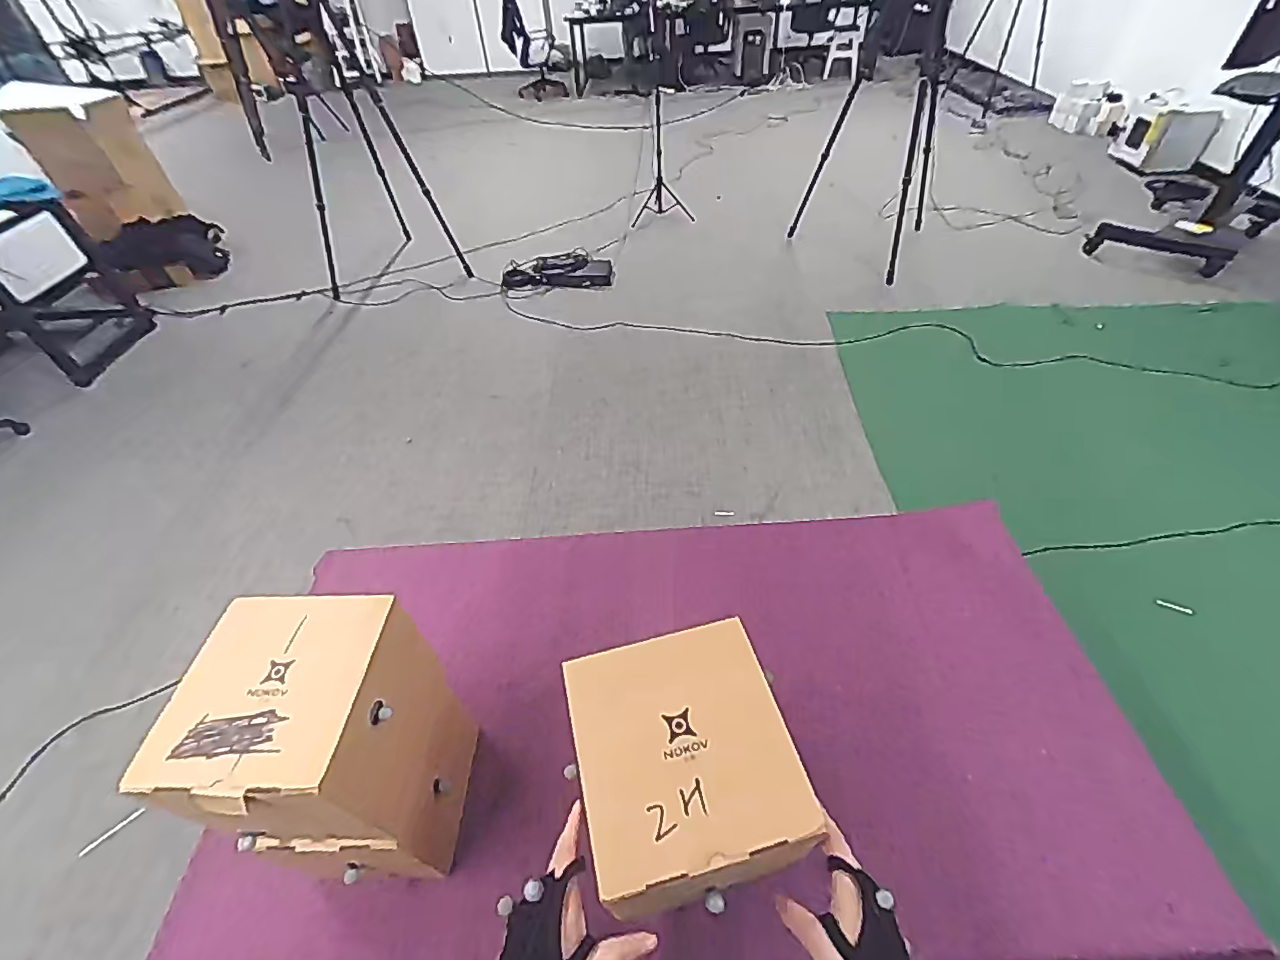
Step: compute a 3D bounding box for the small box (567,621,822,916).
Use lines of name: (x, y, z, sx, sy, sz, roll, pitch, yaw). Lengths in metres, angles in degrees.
small box: (0.035, 0.258, 0.486, 0.168, 0.176, 0.179, -12, 49, -7)

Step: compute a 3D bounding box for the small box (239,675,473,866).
small box: (-0.314, 0.346, 0.647, 0.168, 0.176, 0.179, 0, 47, 2)

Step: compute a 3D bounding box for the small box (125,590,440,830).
small box: (-0.318, 0.228, 0.533, 0.168, 0.176, 0.179, 0, 45, 3)
